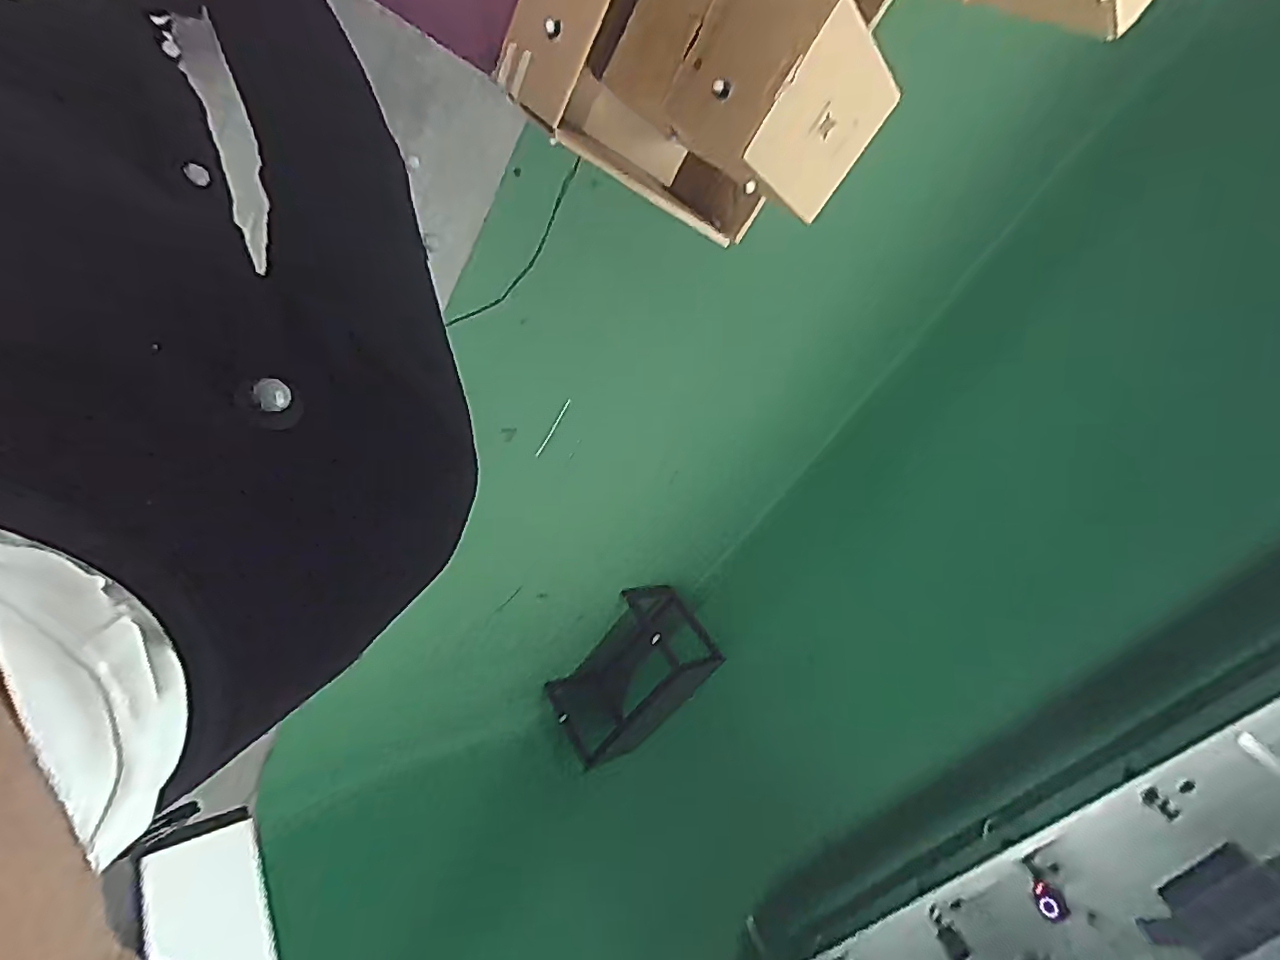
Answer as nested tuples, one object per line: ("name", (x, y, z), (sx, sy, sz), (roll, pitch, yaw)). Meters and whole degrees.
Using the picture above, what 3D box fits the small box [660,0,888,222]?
("small box", (0.156, -0.458, 0.658), (0.179, 0.176, 0.168), (6, 128, -49))
